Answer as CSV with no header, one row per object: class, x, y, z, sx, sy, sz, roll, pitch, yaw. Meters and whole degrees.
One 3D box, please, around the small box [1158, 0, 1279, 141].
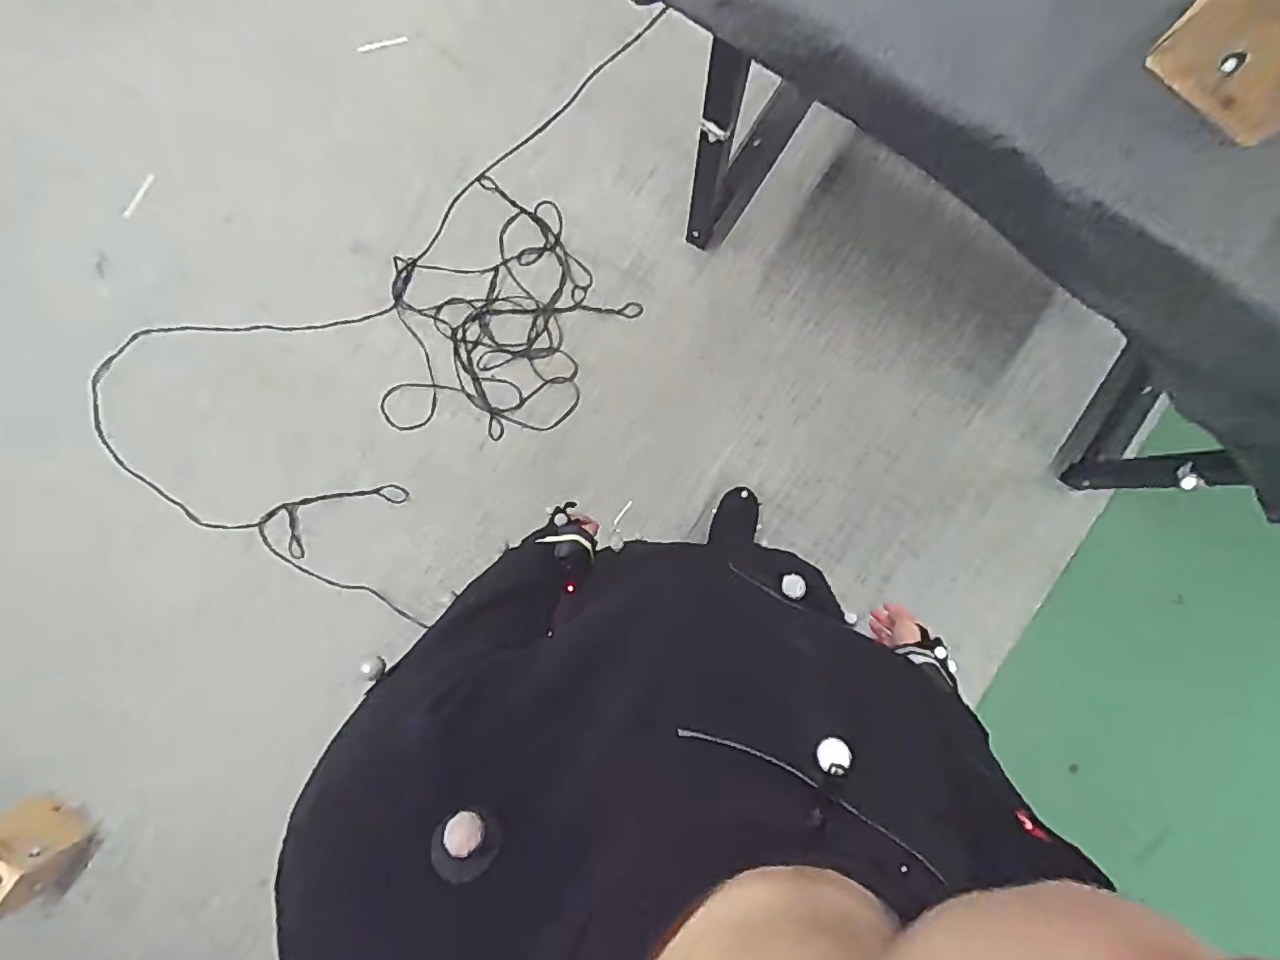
small box,0.720,-0.514,0.562,0.168,0.176,0.179,43,89,2
